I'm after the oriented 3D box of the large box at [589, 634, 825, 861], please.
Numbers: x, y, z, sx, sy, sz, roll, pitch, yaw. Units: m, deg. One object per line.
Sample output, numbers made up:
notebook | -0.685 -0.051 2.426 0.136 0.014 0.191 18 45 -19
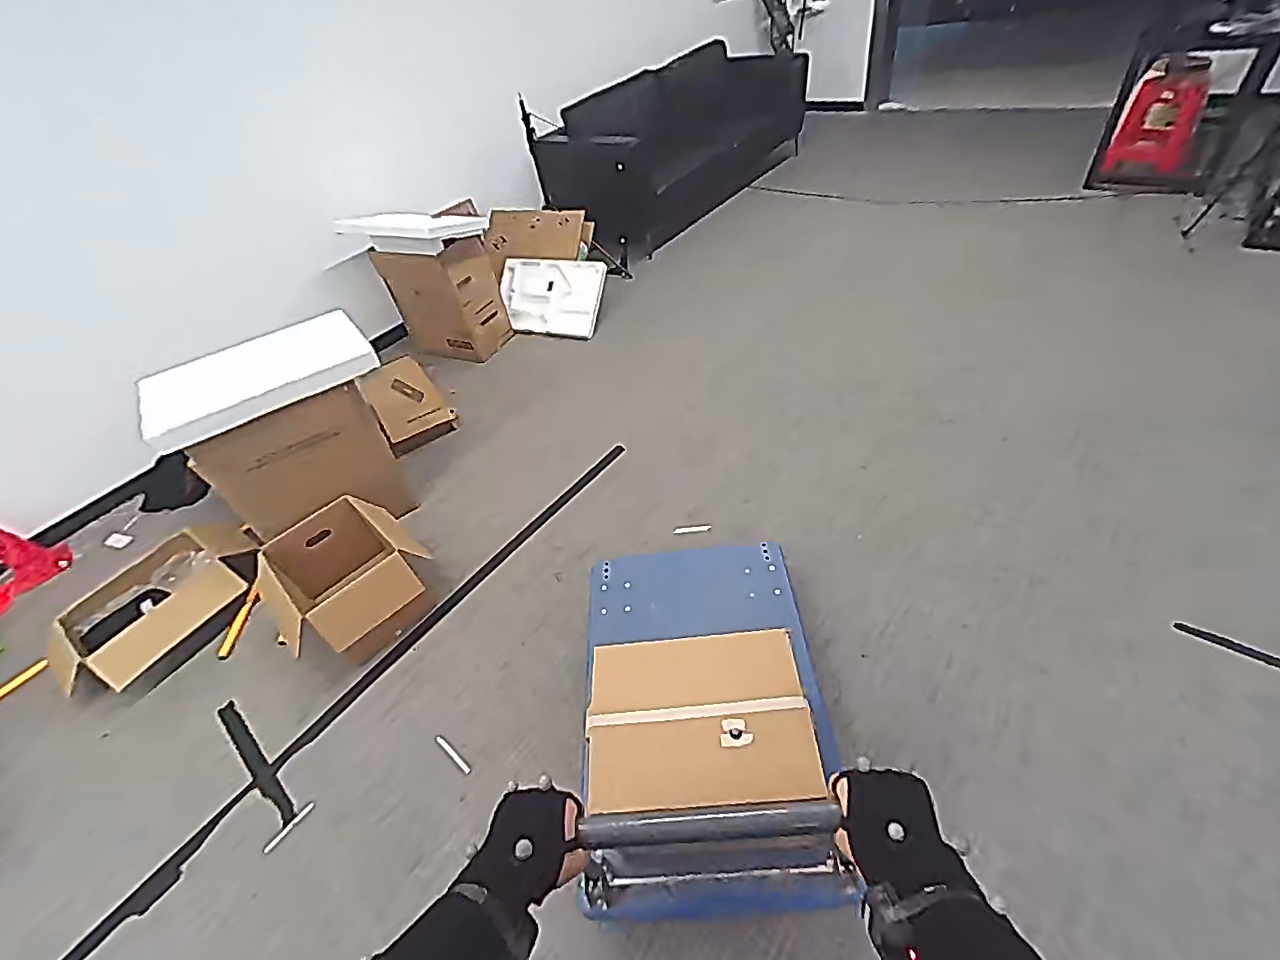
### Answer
large box | 0.122 0.548 1.104 0.408 0.320 0.320 -7 45 4
